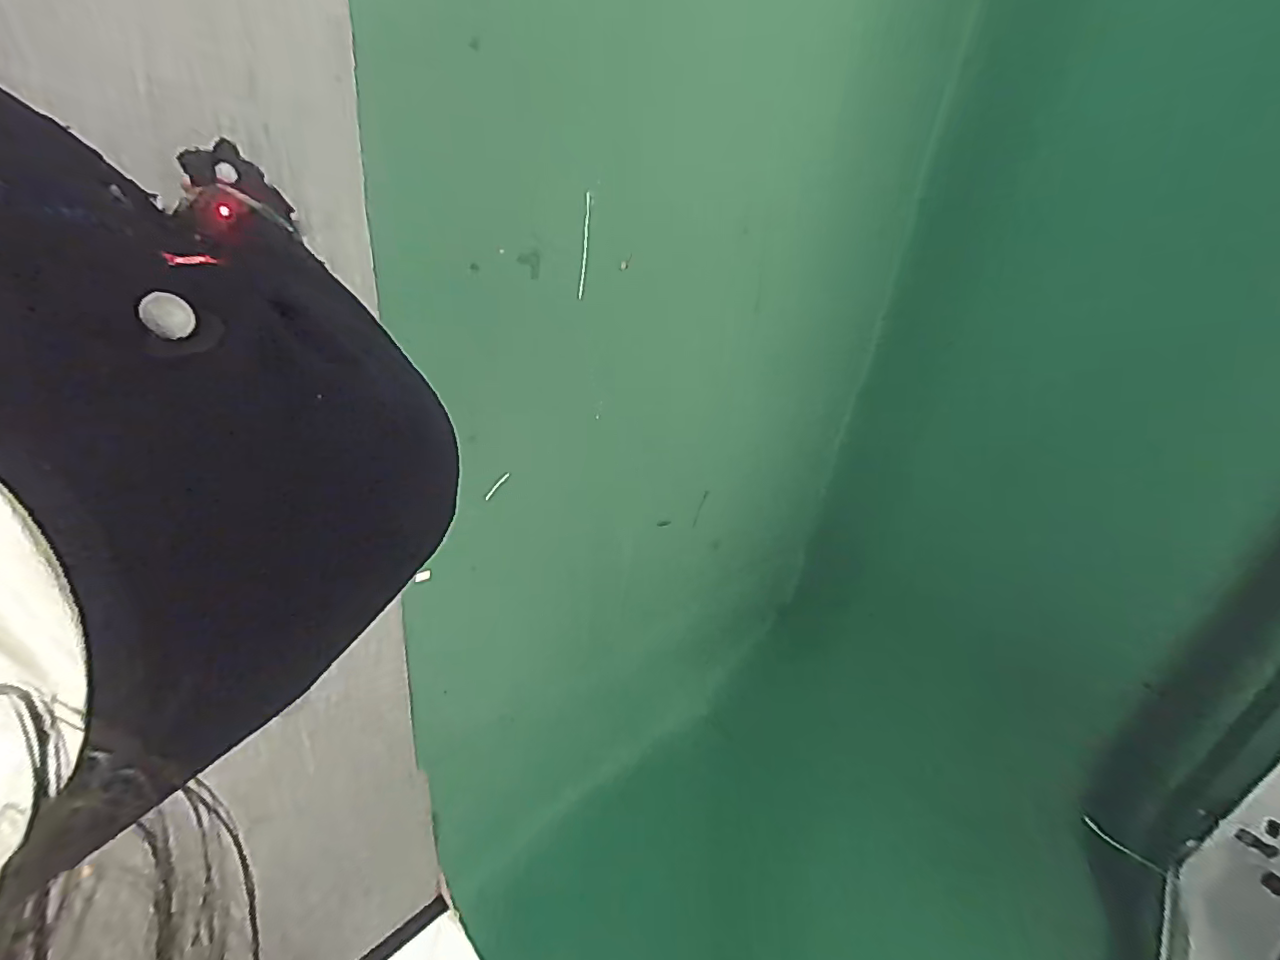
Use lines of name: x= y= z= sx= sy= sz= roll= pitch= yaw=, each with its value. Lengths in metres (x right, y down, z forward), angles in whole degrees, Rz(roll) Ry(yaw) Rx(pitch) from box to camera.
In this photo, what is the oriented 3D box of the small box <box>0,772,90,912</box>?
small box: x=-1.354 y=0.796 z=1.189 sx=0.179 sy=0.176 sz=0.168 roll=-14 pitch=123 yaw=-45
